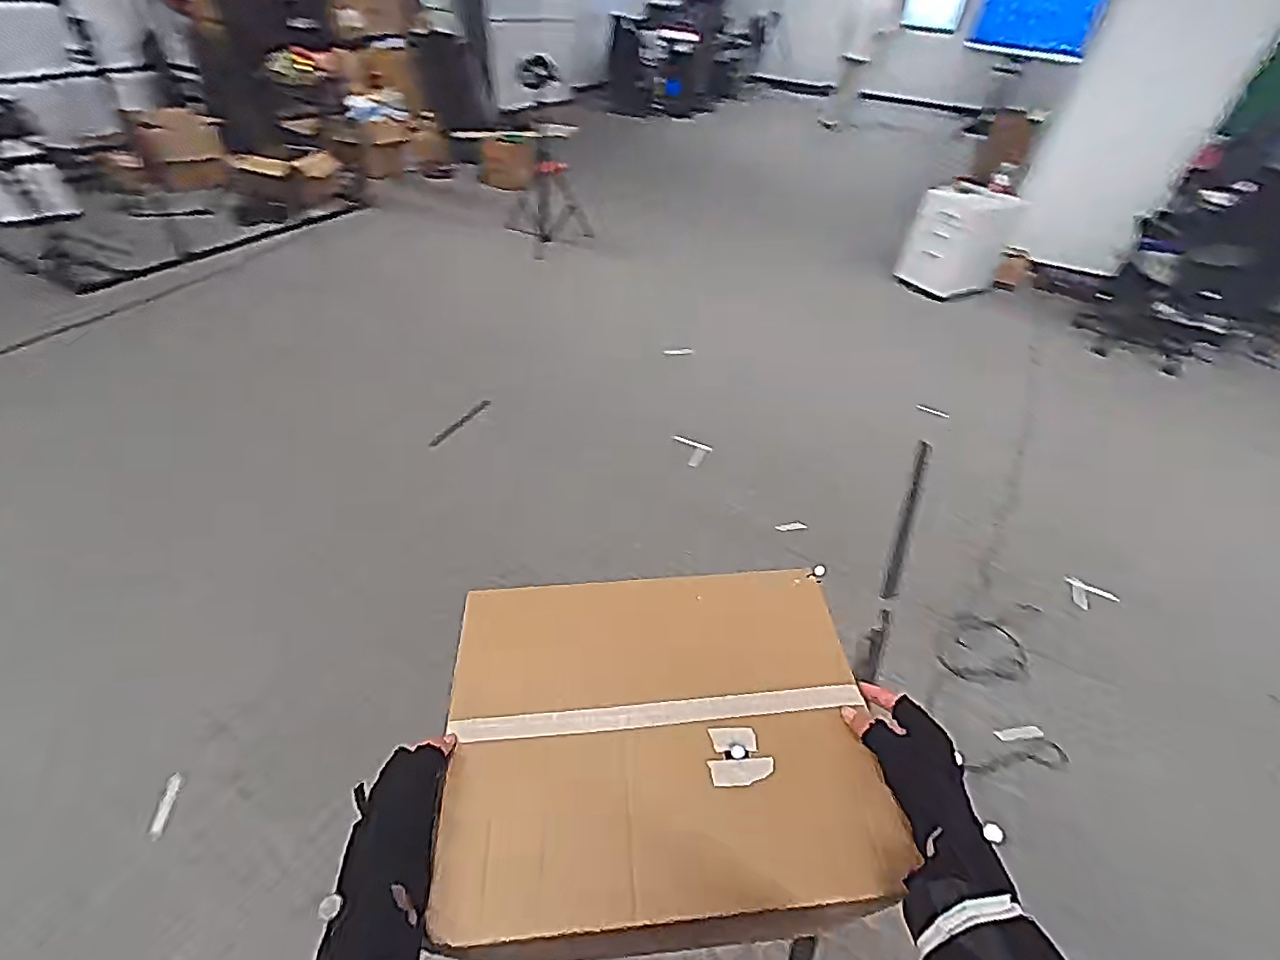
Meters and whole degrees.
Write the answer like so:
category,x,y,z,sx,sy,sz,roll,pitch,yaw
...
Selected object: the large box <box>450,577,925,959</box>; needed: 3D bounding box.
category,x,y,z,sx,sy,sz,roll,pitch,yaw
large box,0.029,0.341,0.647,0.408,0.320,0.320,-2,47,-3
